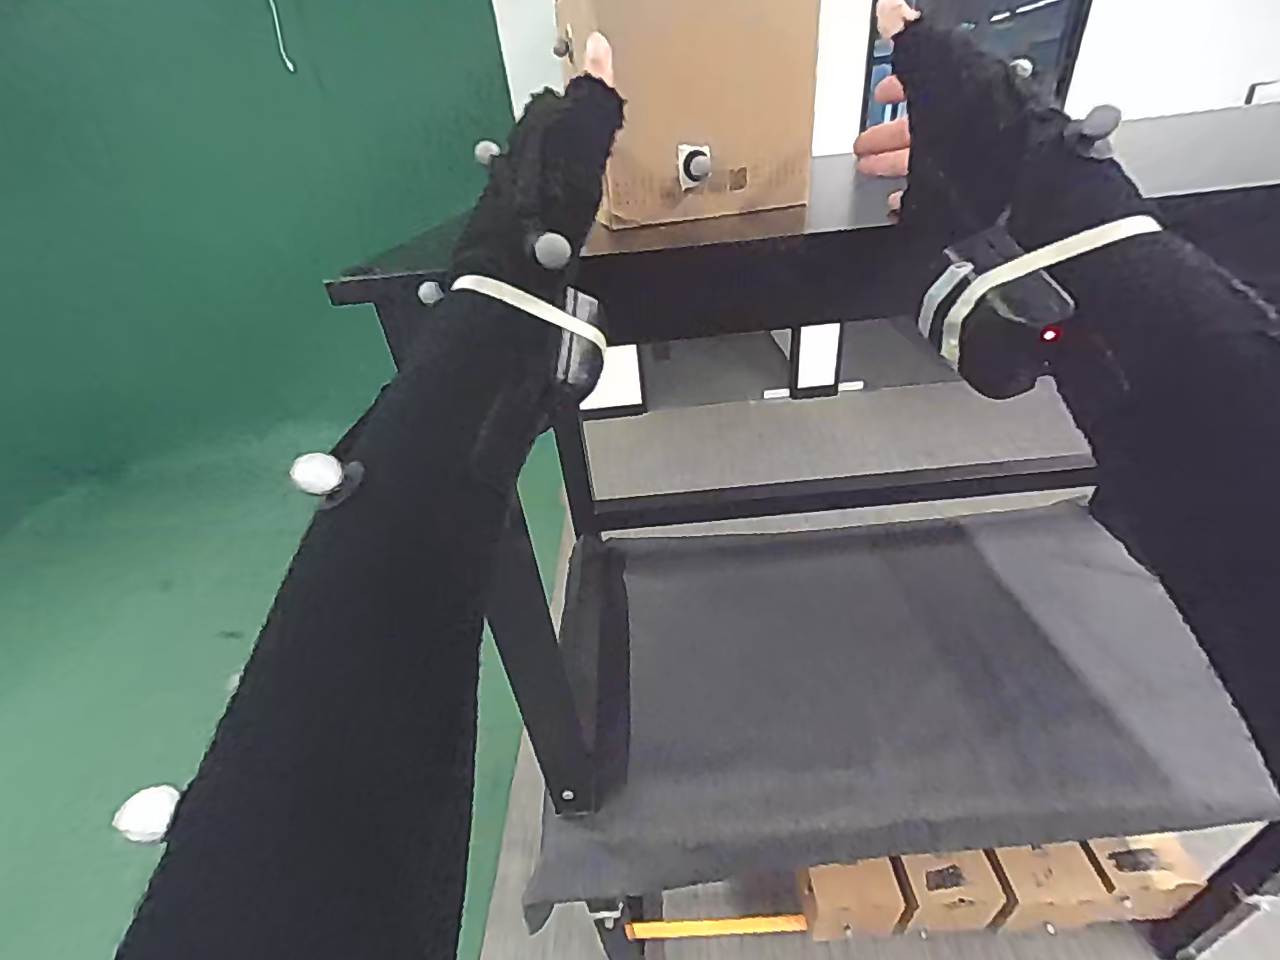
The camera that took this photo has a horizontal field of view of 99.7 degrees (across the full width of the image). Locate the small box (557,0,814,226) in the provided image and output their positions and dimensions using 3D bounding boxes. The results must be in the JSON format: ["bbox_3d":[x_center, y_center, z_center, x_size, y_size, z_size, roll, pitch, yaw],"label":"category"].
[{"bbox_3d":[0.028,-0.321,0.457,0.168,0.176,0.179,-11,34,-7],"label":"small box"}]
